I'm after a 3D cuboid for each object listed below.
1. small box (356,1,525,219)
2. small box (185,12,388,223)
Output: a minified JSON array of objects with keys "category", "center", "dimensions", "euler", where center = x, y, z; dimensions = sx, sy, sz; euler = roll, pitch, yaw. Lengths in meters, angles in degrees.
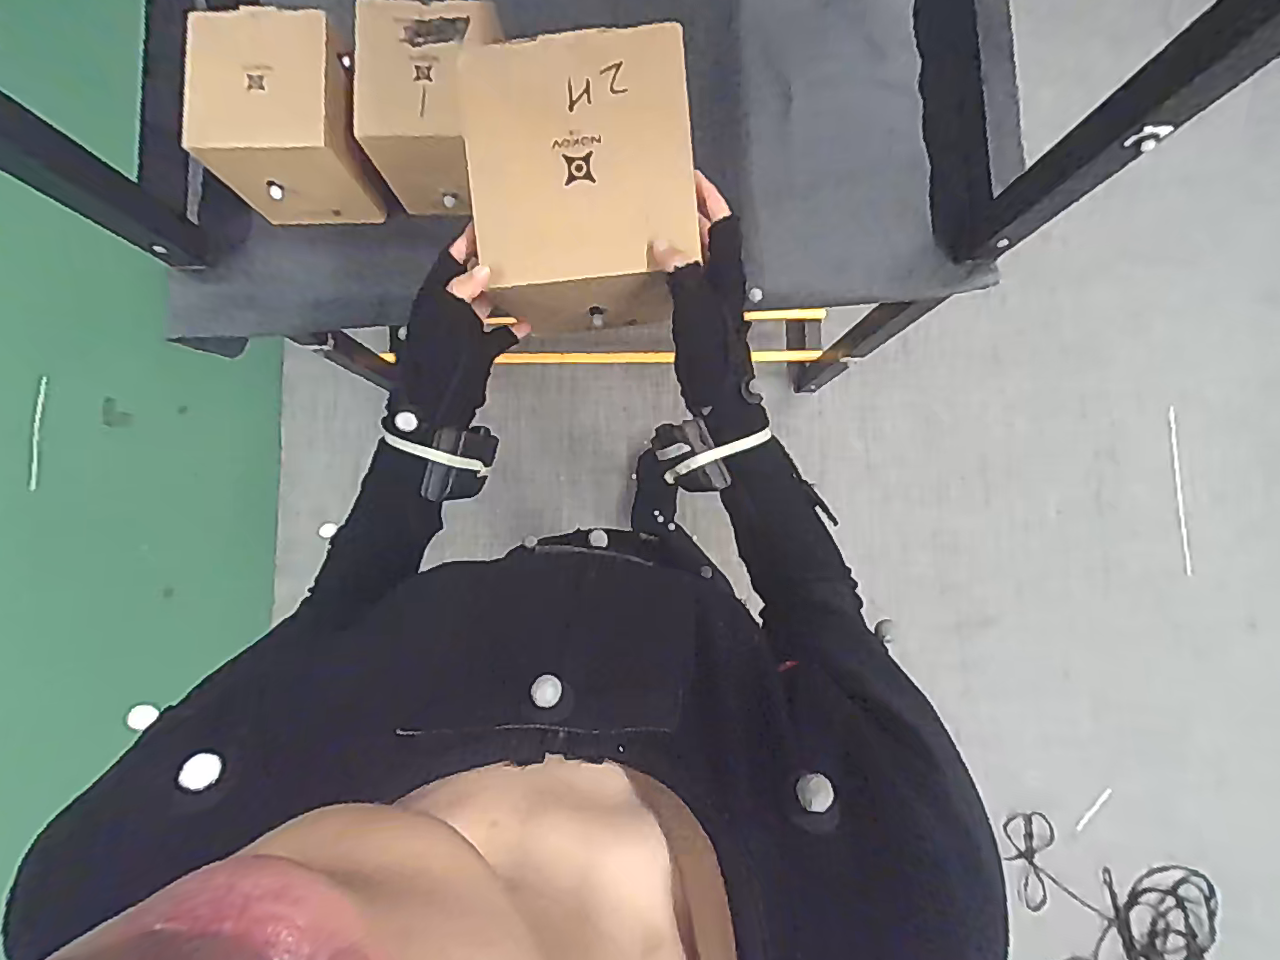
[{"category":"small box","center":[-0.252,-0.478,0.718],"dimensions":[0.168,0.176,0.179],"euler":[-1,86,-1]},{"category":"small box","center":[-0.448,-0.461,0.713],"dimensions":[0.168,0.176,0.179],"euler":[-1,85,-2]}]
